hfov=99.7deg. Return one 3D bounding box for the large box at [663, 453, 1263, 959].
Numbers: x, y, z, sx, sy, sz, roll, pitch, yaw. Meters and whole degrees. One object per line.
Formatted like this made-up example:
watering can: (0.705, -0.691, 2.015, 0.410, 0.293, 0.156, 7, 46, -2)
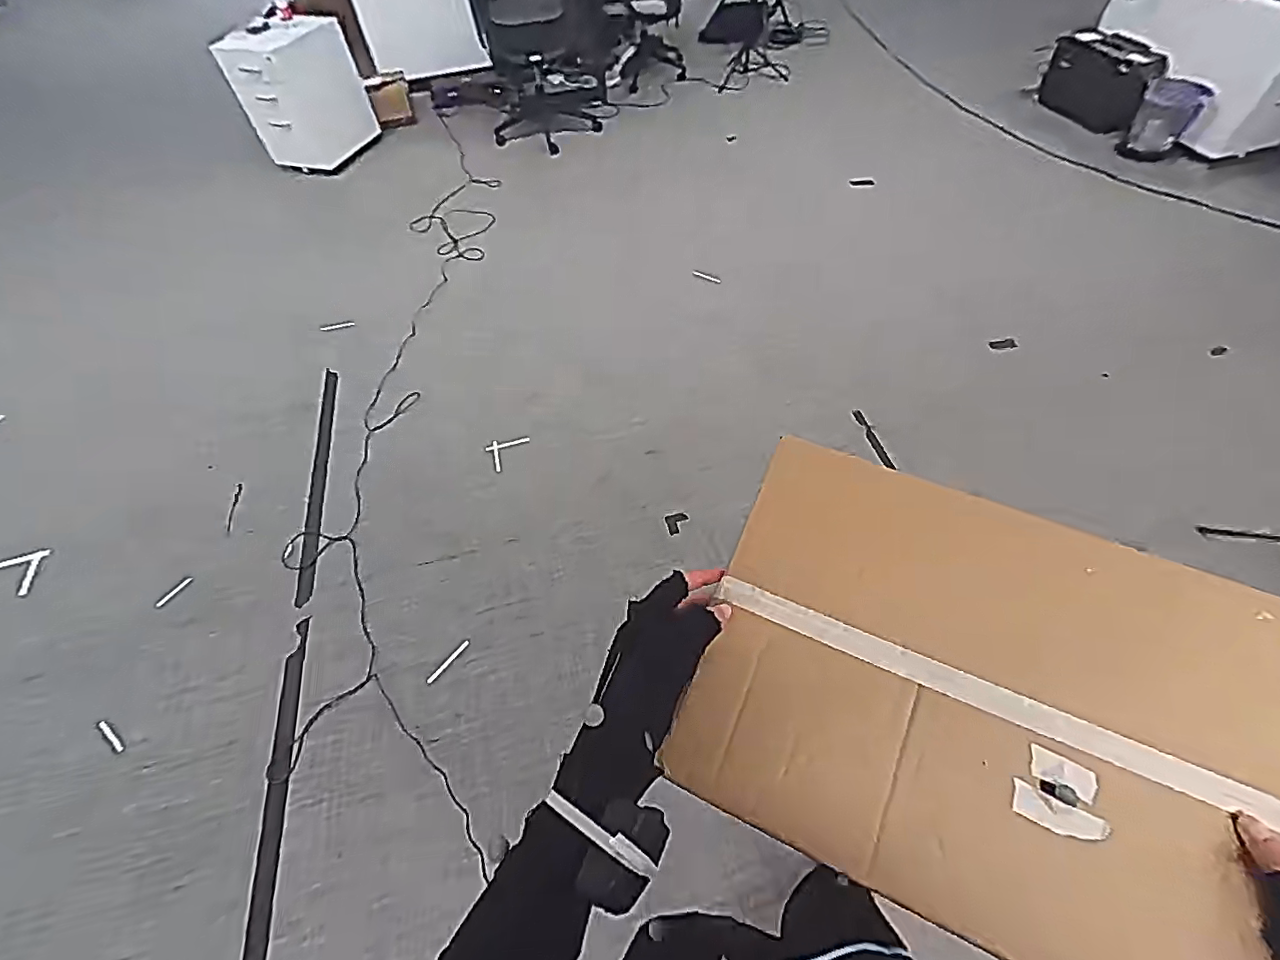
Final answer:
large box: (0.272, 0.221, 0.573, 0.408, 0.320, 0.320, 21, 73, 15)
